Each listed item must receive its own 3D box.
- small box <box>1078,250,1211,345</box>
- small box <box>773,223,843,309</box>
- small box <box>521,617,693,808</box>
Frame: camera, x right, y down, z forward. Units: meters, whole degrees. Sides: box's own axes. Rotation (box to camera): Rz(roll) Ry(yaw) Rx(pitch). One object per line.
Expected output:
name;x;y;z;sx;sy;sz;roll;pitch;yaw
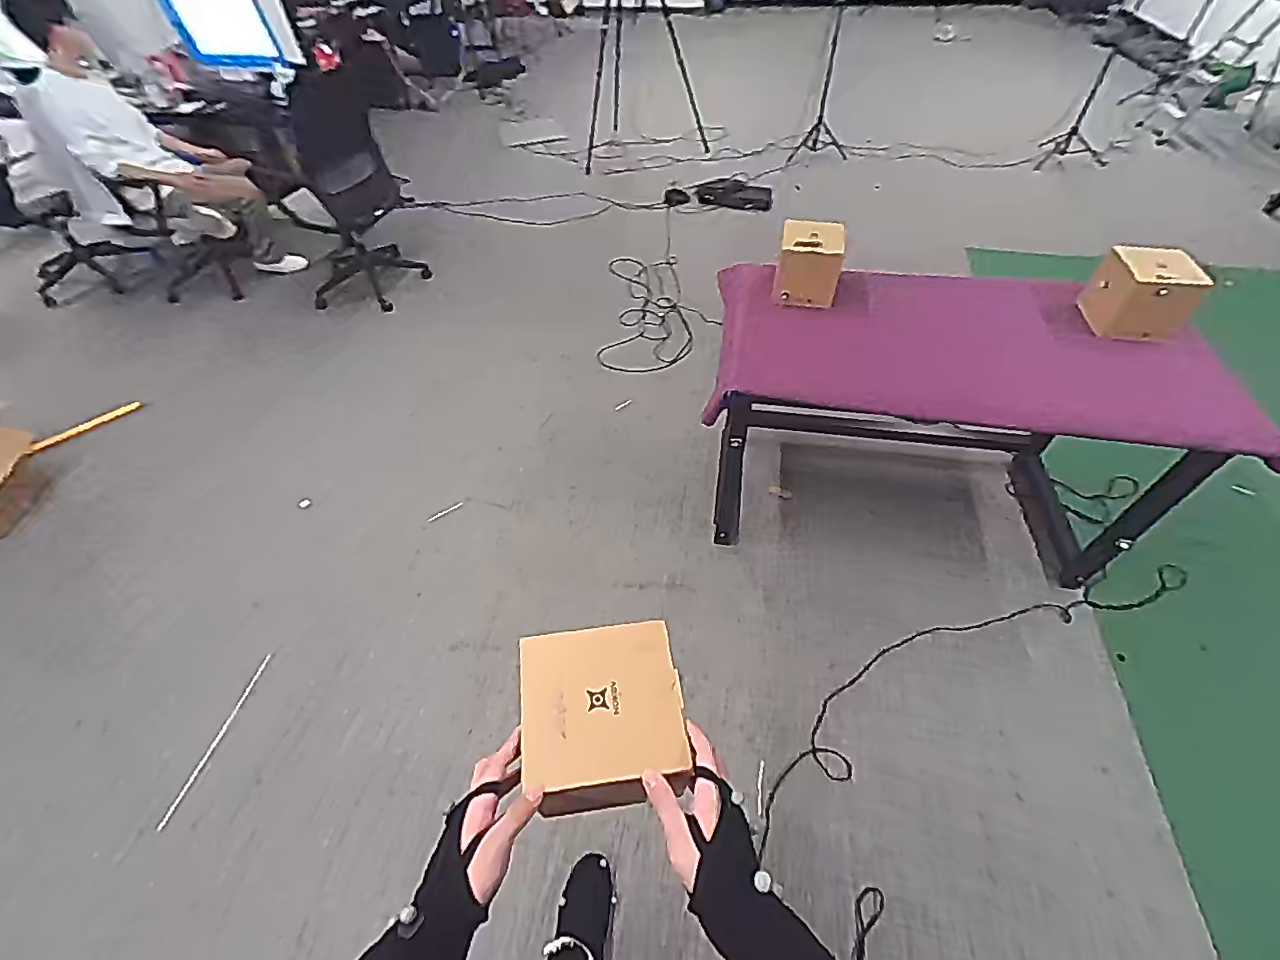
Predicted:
small box;1.297;-0.477;1.411;0.168;0.176;0.179;6;50;8
small box;0.482;-0.614;1.559;0.168;0.176;0.179;9;51;9
small box;-0.042;0.282;0.652;0.179;0.176;0.168;-5;51;-5
